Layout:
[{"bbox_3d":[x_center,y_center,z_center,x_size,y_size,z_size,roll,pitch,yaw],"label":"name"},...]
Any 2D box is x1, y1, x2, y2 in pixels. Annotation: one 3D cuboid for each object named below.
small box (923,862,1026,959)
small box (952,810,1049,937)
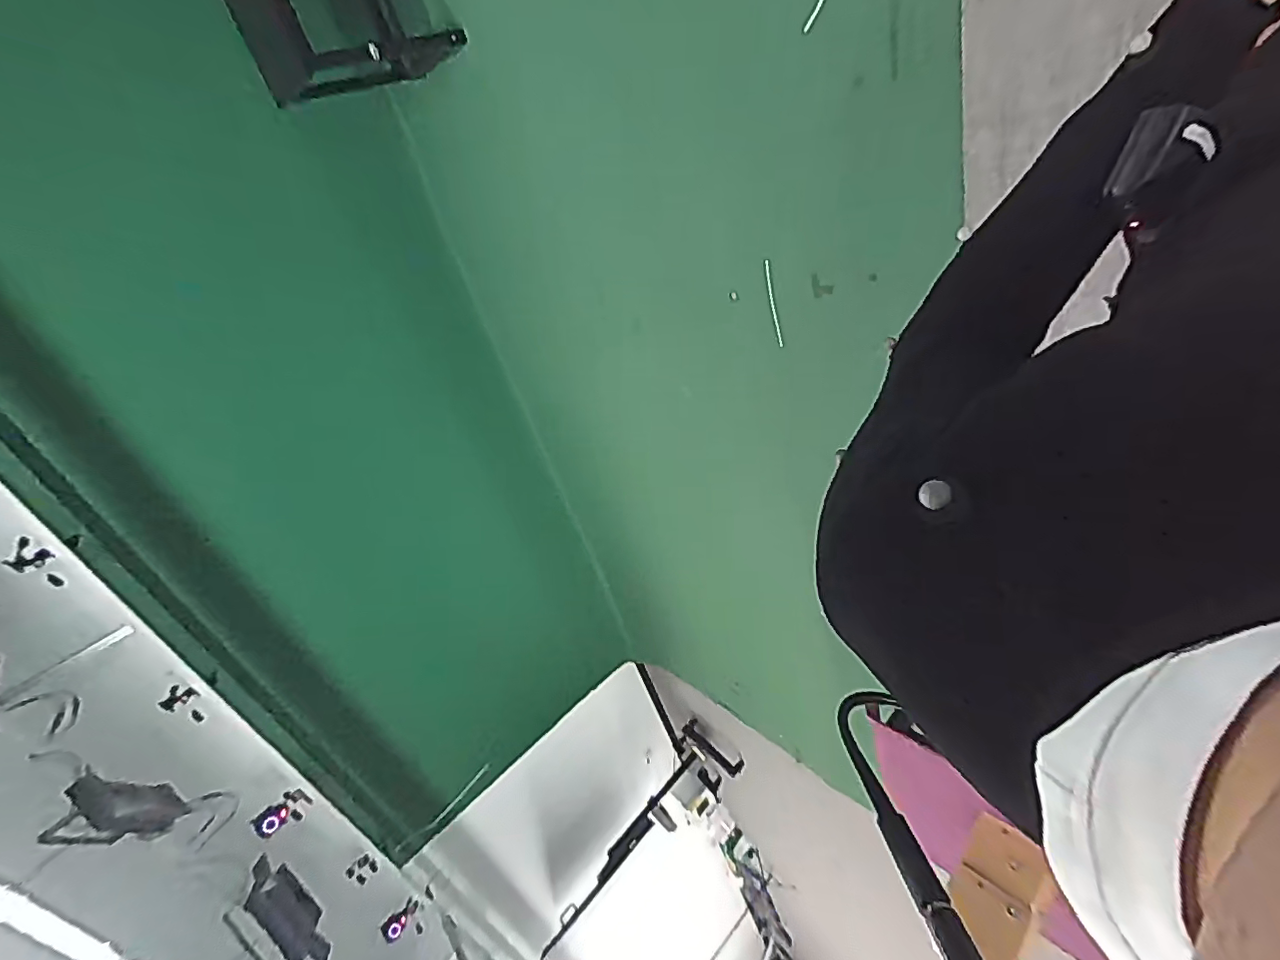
[{"bbox_3d":[0.813,1.085,1.314,0.168,0.176,0.179,17,137,48],"label":"small box"},{"bbox_3d":[0.932,1.004,1.395,0.168,0.176,0.179,13,134,50],"label":"small box"}]
